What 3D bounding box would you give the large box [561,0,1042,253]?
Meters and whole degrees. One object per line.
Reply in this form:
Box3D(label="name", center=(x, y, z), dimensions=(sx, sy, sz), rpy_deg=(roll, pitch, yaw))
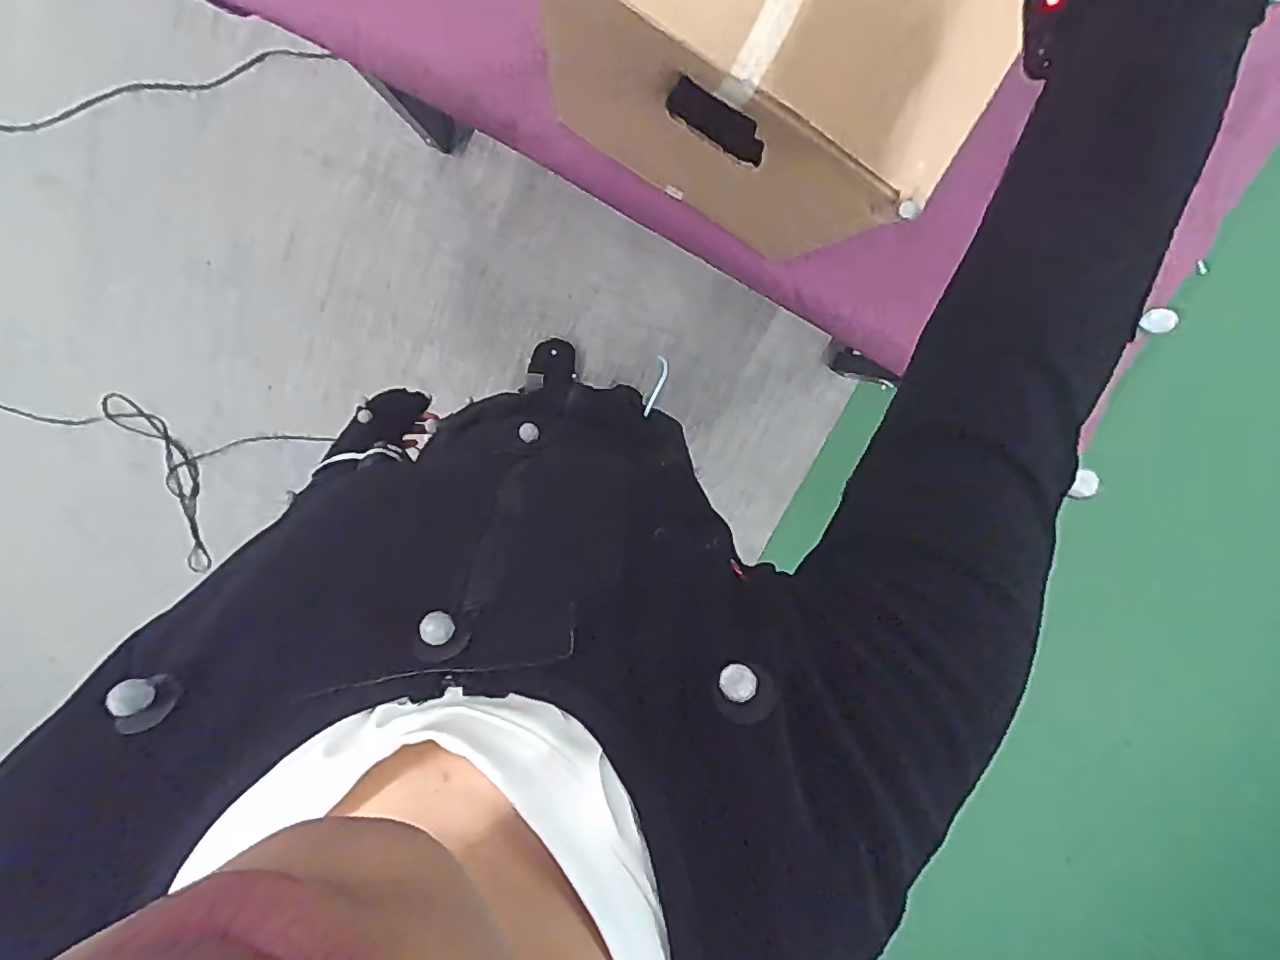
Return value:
Box3D(label="large box", center=(0.156, -0.481, 0.483), dimensions=(0.320, 0.320, 0.408), rpy_deg=(28, 102, -12))
